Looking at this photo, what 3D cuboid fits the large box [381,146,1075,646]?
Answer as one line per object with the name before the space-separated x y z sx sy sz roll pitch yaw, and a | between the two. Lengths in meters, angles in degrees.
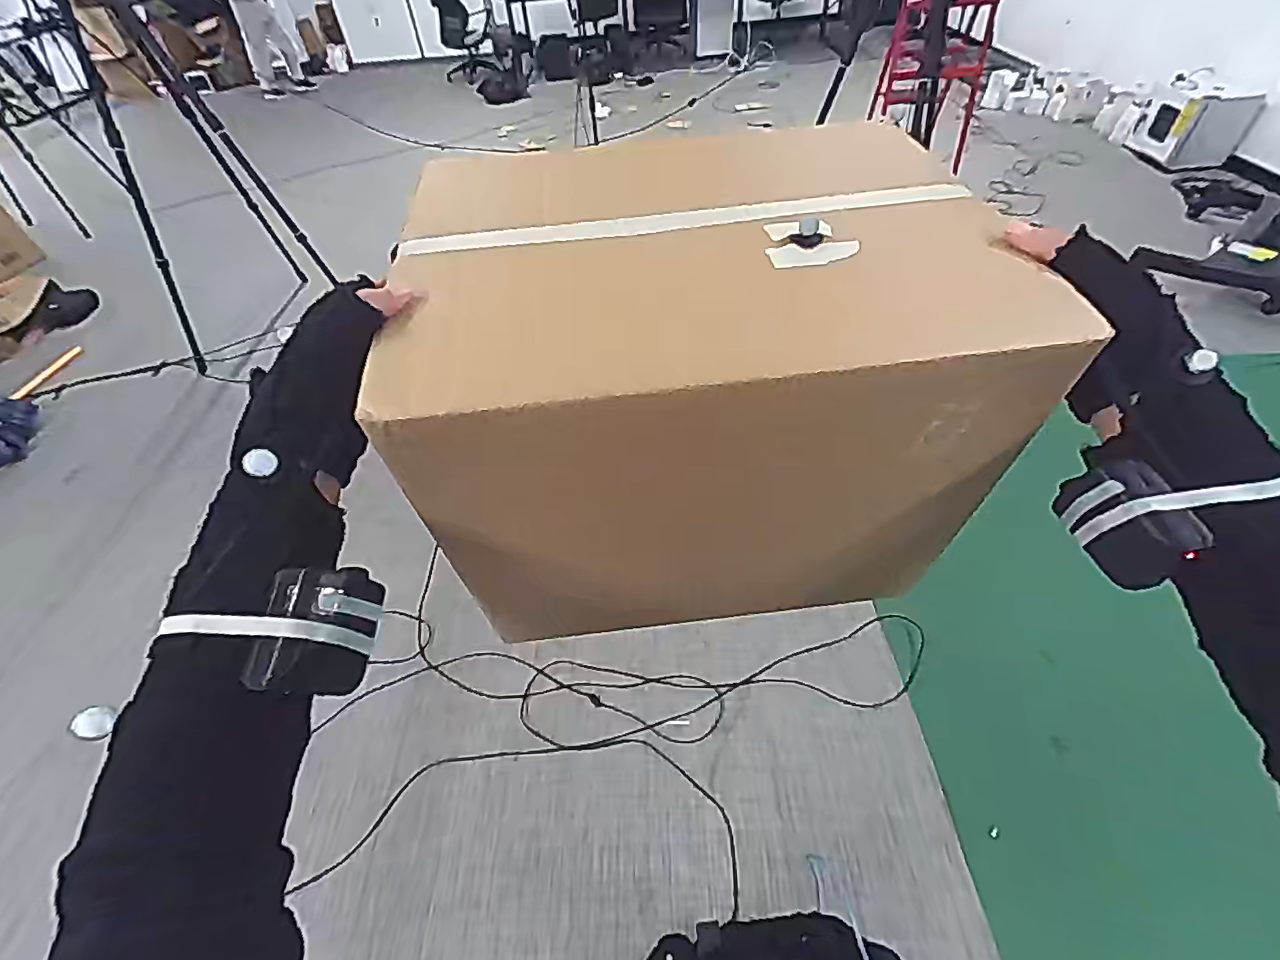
large box | 0.041 -0.070 0.505 0.408 0.320 0.320 -7 53 -2
